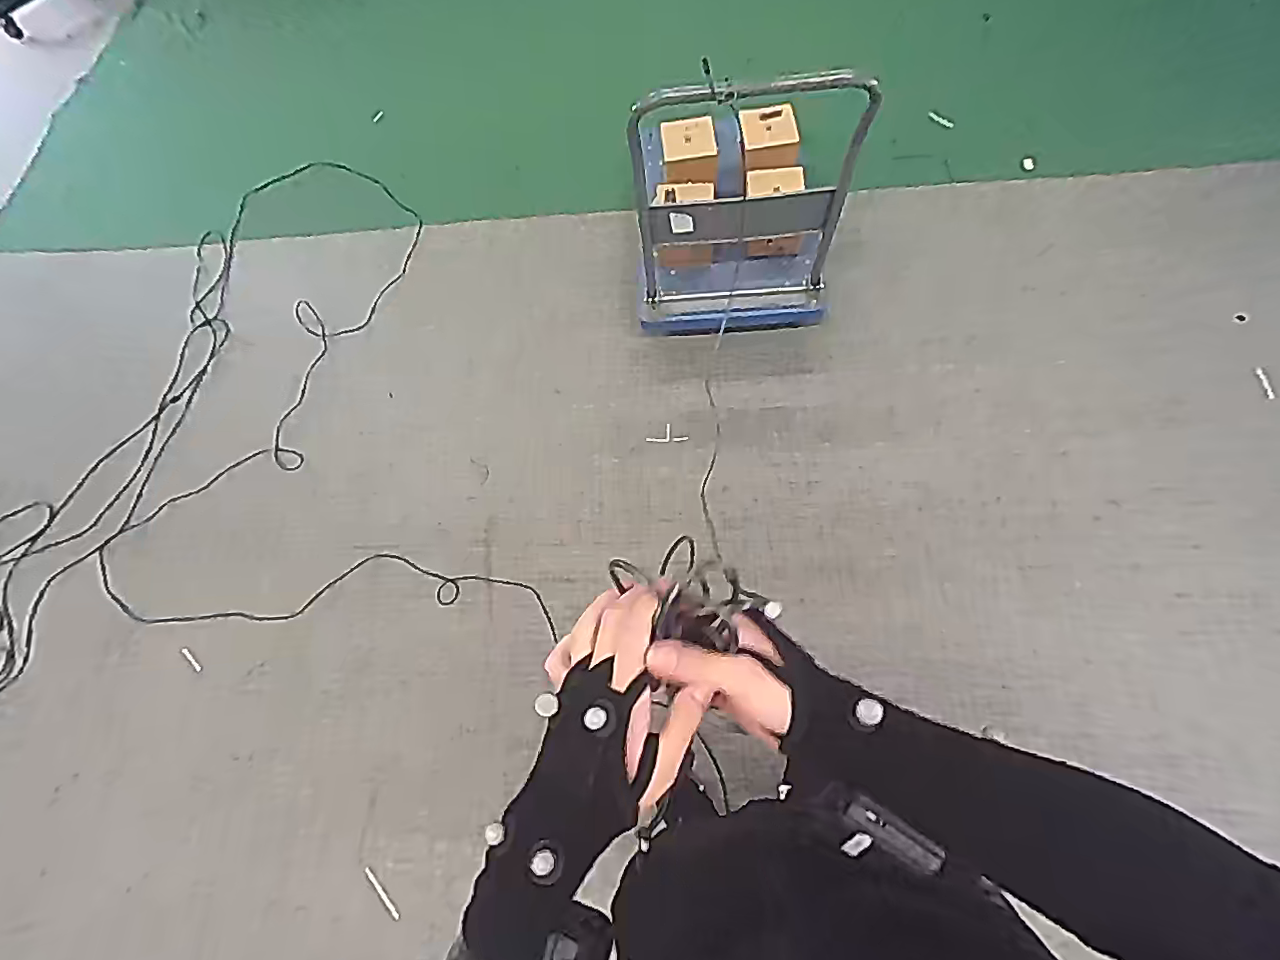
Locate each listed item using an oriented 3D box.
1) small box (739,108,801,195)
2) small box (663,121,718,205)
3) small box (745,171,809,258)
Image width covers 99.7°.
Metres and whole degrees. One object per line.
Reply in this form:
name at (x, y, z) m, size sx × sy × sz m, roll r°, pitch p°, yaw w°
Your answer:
small box at (0.417, -1.065, 1.766) m, size 0.168 × 0.176 × 0.179 m, roll -6°, pitch 69°, yaw 5°
small box at (0.168, -1.037, 1.786) m, size 0.168 × 0.176 × 0.179 m, roll -6°, pitch 68°, yaw 4°
small box at (0.417, -0.814, 1.666) m, size 0.168 × 0.176 × 0.179 m, roll -2°, pitch 69°, yaw 6°
